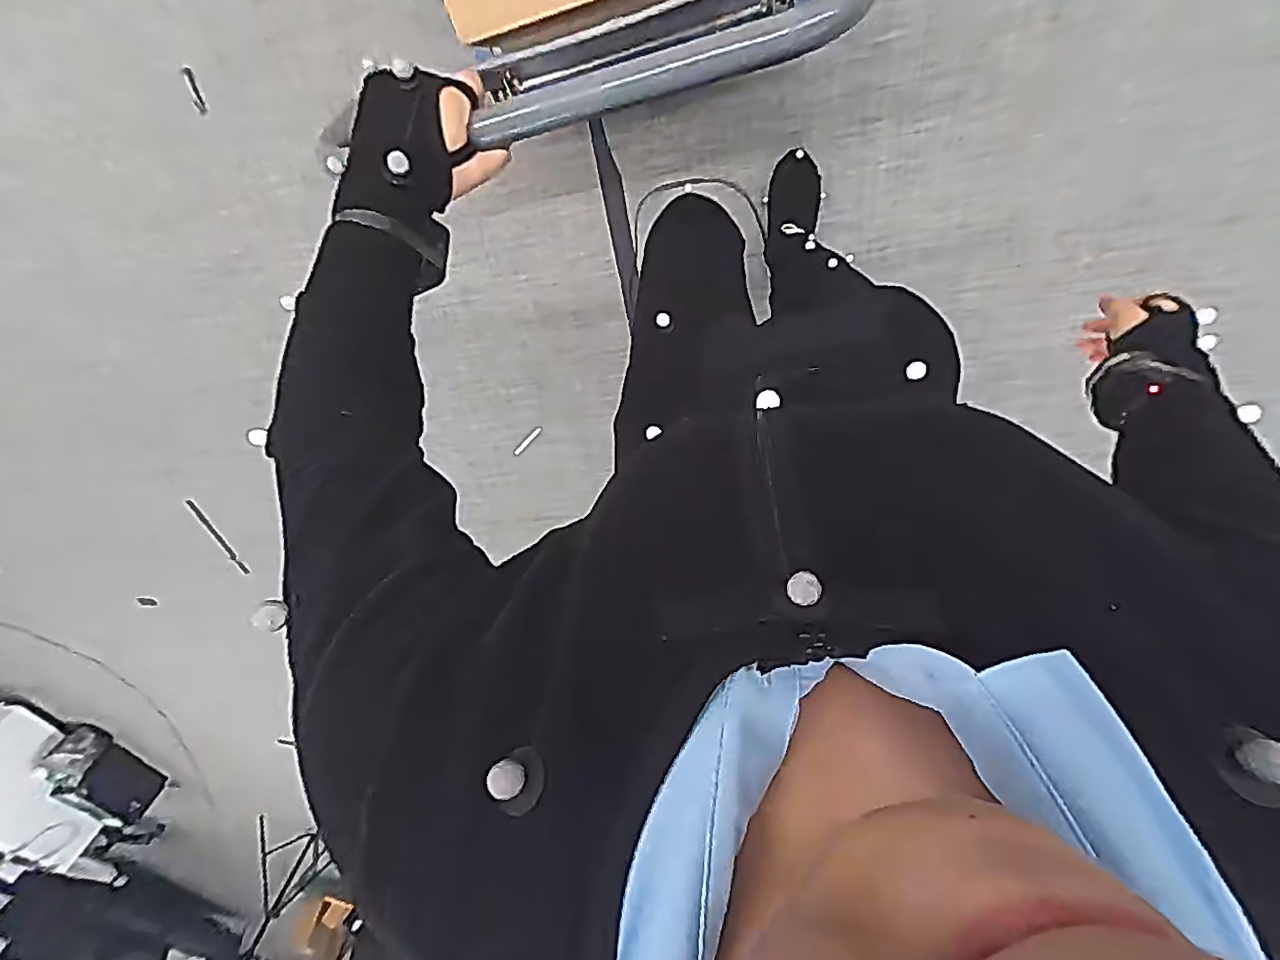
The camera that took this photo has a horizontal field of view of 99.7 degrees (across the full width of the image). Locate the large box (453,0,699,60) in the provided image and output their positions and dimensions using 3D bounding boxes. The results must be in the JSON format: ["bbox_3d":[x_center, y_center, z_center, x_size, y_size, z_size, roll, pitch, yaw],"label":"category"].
[{"bbox_3d":[-0.061,-0.808,0.714,0.408,0.320,0.320,-8,126,13],"label":"large box"}]
